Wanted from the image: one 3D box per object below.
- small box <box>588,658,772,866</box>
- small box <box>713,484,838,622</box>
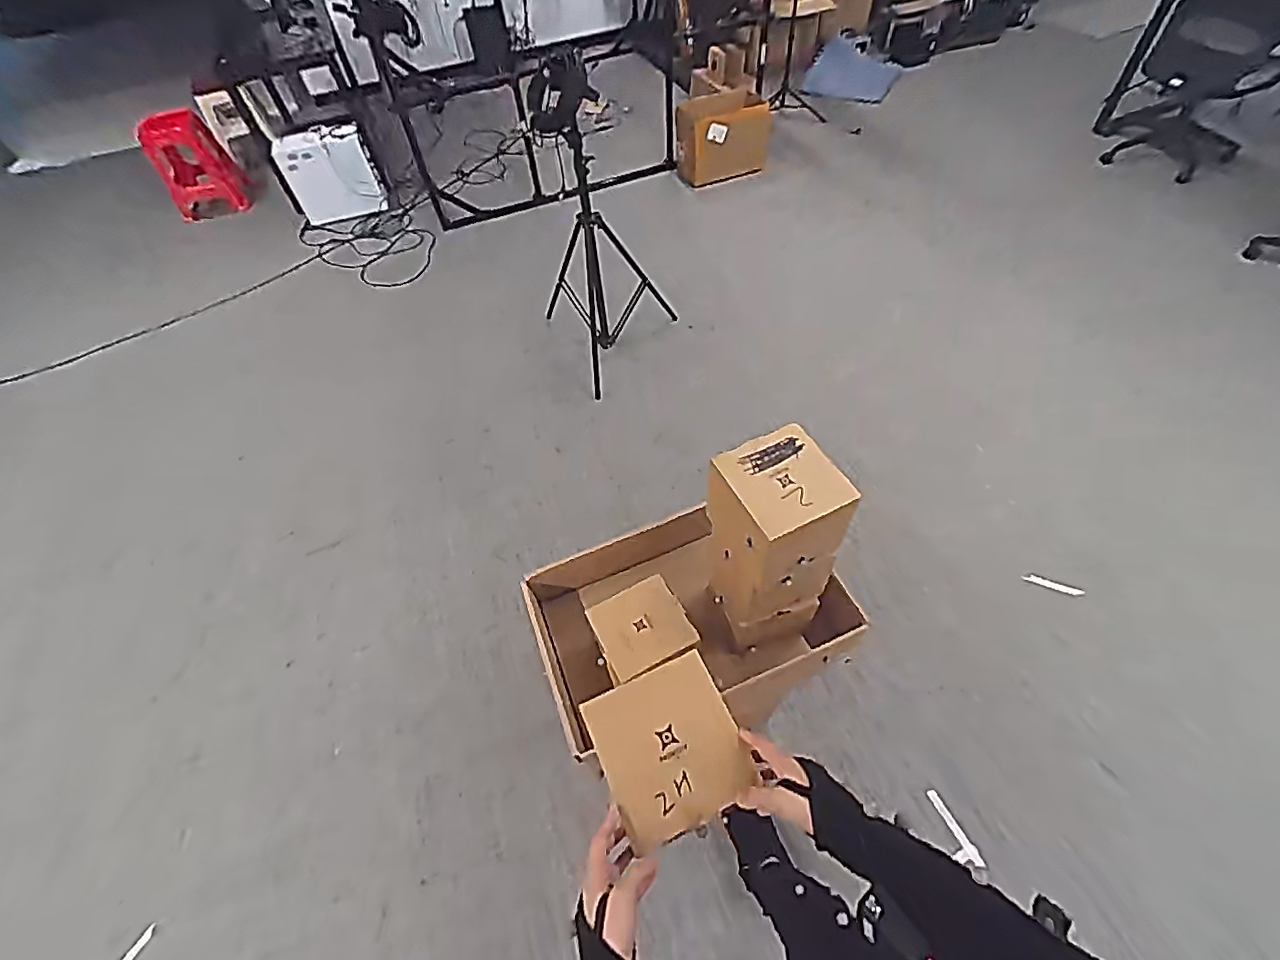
[{"bbox_3d":[0.044,0.364,0.704,0.168,0.176,0.179,-23,60,-11],"label":"small box"},{"bbox_3d":[0.246,0.142,1.035,0.168,0.176,0.179,-18,53,-8],"label":"small box"}]
